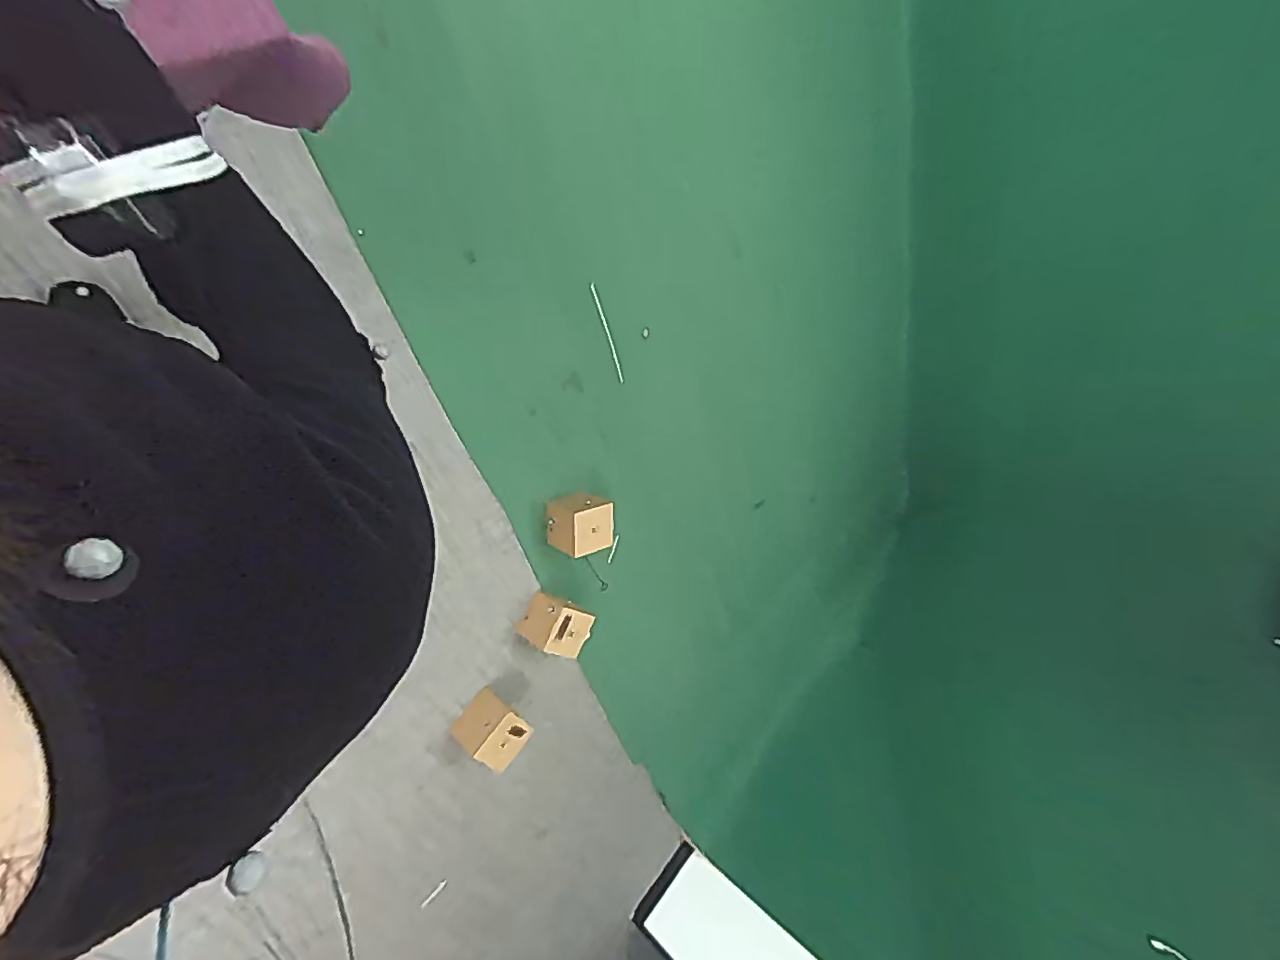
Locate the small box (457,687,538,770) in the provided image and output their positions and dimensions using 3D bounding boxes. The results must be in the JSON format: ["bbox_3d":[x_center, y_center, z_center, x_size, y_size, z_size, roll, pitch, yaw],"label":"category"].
[{"bbox_3d":[-0.496,0.854,1.871,0.179,0.176,0.168,-49,132,-21],"label":"small box"}]

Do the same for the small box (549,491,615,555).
[{"bbox_3d":[-0.208,0.146,1.934,0.179,0.176,0.168,-14,112,-42],"label":"small box"}]
